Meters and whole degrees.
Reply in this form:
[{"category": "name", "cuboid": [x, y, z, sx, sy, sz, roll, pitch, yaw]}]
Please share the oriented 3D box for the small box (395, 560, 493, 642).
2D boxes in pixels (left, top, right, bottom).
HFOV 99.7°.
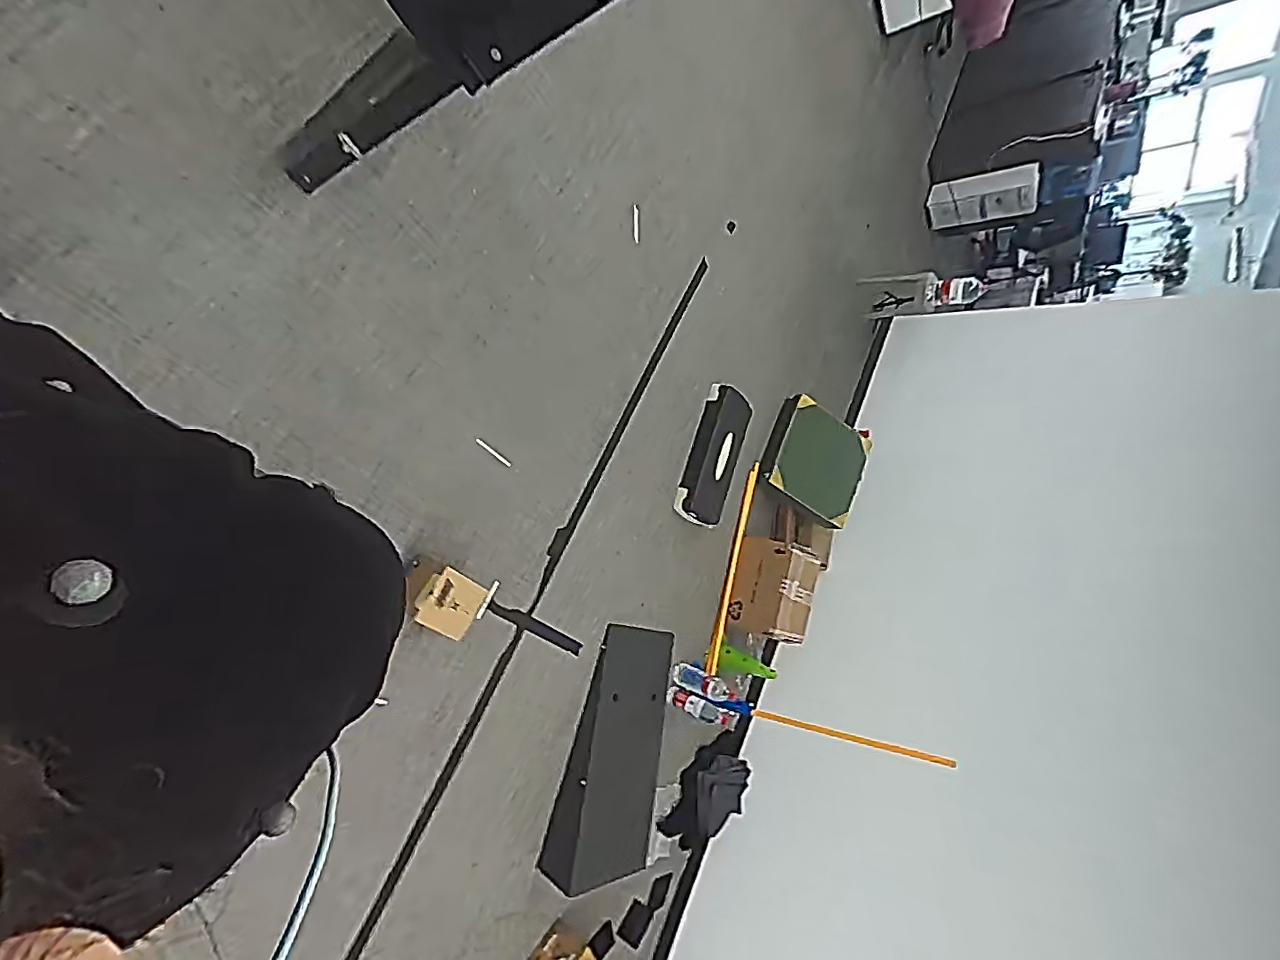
[{"category": "small box", "cuboid": [-0.574, 0.346, 1.575, 0.179, 0.176, 0.168, 48, 62, -43]}]
